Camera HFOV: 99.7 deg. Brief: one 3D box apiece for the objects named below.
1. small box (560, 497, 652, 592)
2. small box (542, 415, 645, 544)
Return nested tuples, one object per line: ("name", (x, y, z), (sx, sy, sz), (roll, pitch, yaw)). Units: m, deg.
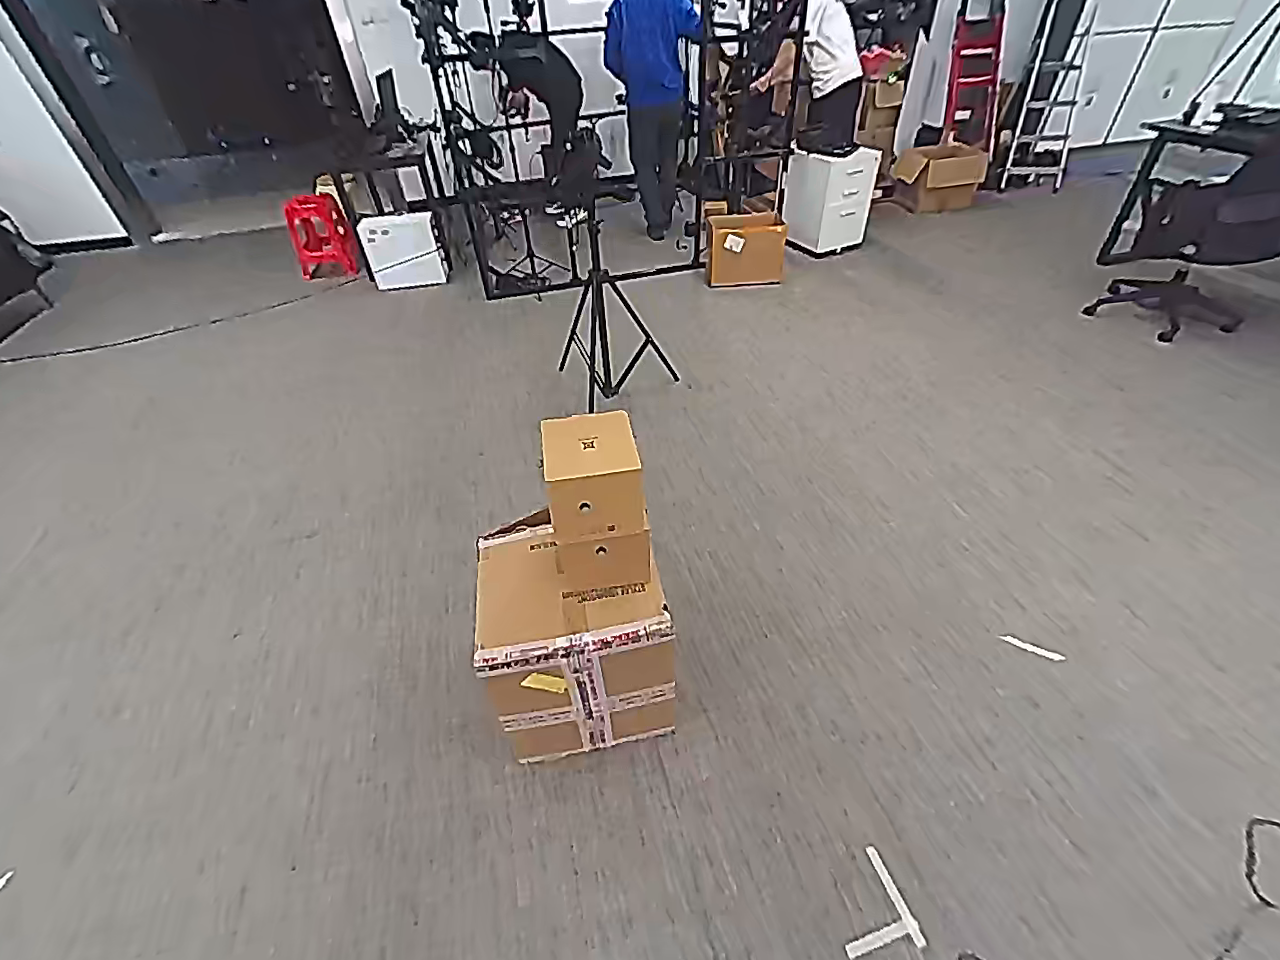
("small box", (-0.072, 0.117, 1.132), (0.179, 0.176, 0.168), (-7, 43, -5))
("small box", (-0.087, 0.004, 1.015), (0.168, 0.176, 0.179), (-9, 42, -7))
